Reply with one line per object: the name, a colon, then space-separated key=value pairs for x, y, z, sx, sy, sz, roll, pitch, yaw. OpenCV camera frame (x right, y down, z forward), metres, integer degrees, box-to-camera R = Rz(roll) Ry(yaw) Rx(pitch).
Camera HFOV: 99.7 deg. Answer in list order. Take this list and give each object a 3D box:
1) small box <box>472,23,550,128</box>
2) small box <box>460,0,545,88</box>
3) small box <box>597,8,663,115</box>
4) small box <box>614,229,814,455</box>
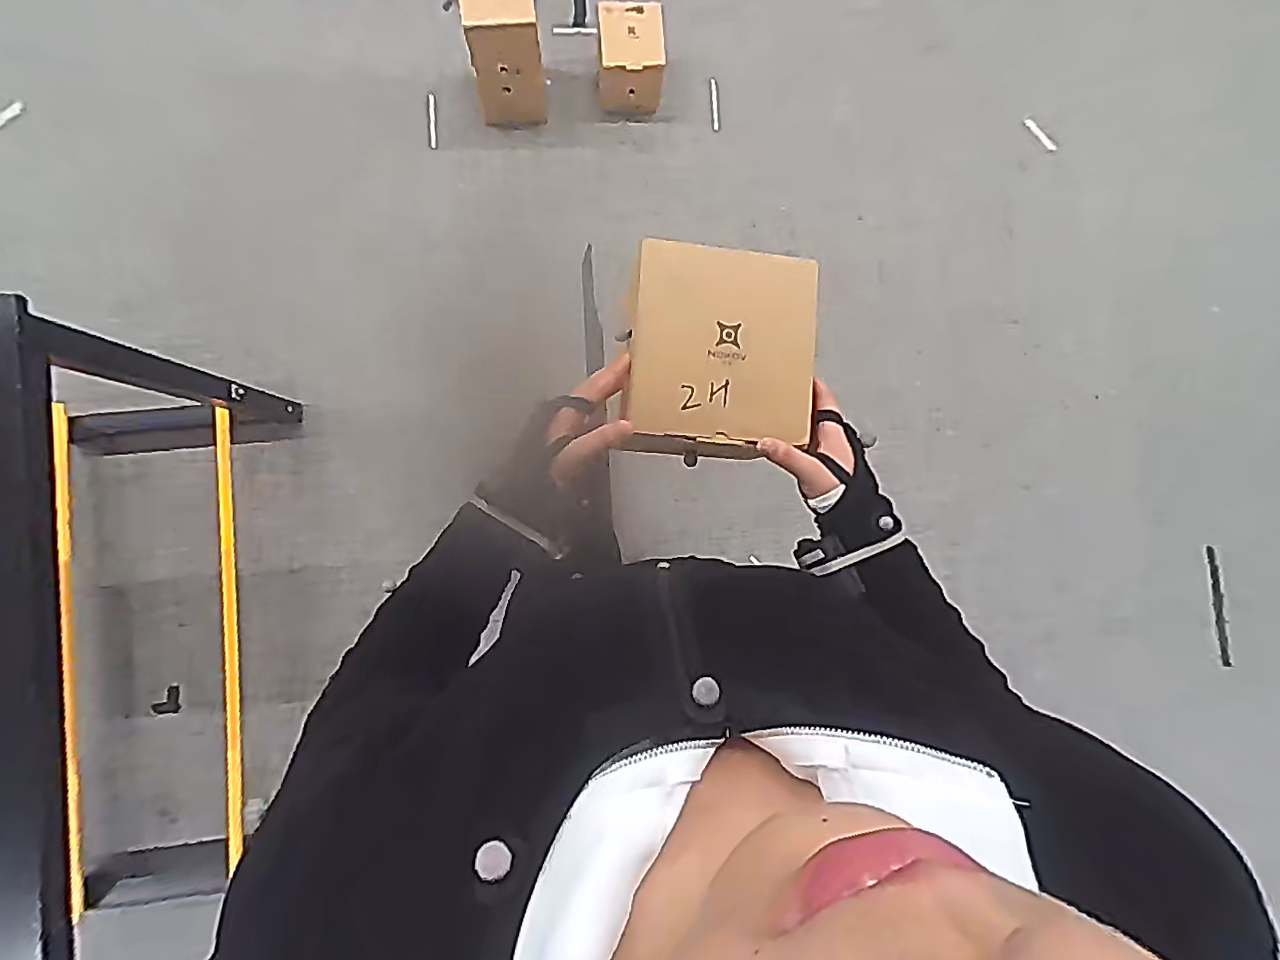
small box: x=-0.343 y=-1.076 z=1.445 sx=0.179 sy=0.176 sz=0.168 roll=-6 pitch=88 yaw=-5
small box: x=-0.326 y=-1.081 z=1.284 sx=0.168 sy=0.176 sz=0.179 roll=-8 pitch=89 yaw=-3
small box: x=-0.029 y=-1.133 z=1.476 sx=0.168 sy=0.176 sz=0.179 roll=-4 pitch=88 yaw=-5
small box: x=0.063 y=-0.126 z=0.560 sx=0.168 sy=0.176 sz=0.179 roll=4 pitch=87 yaw=-7
